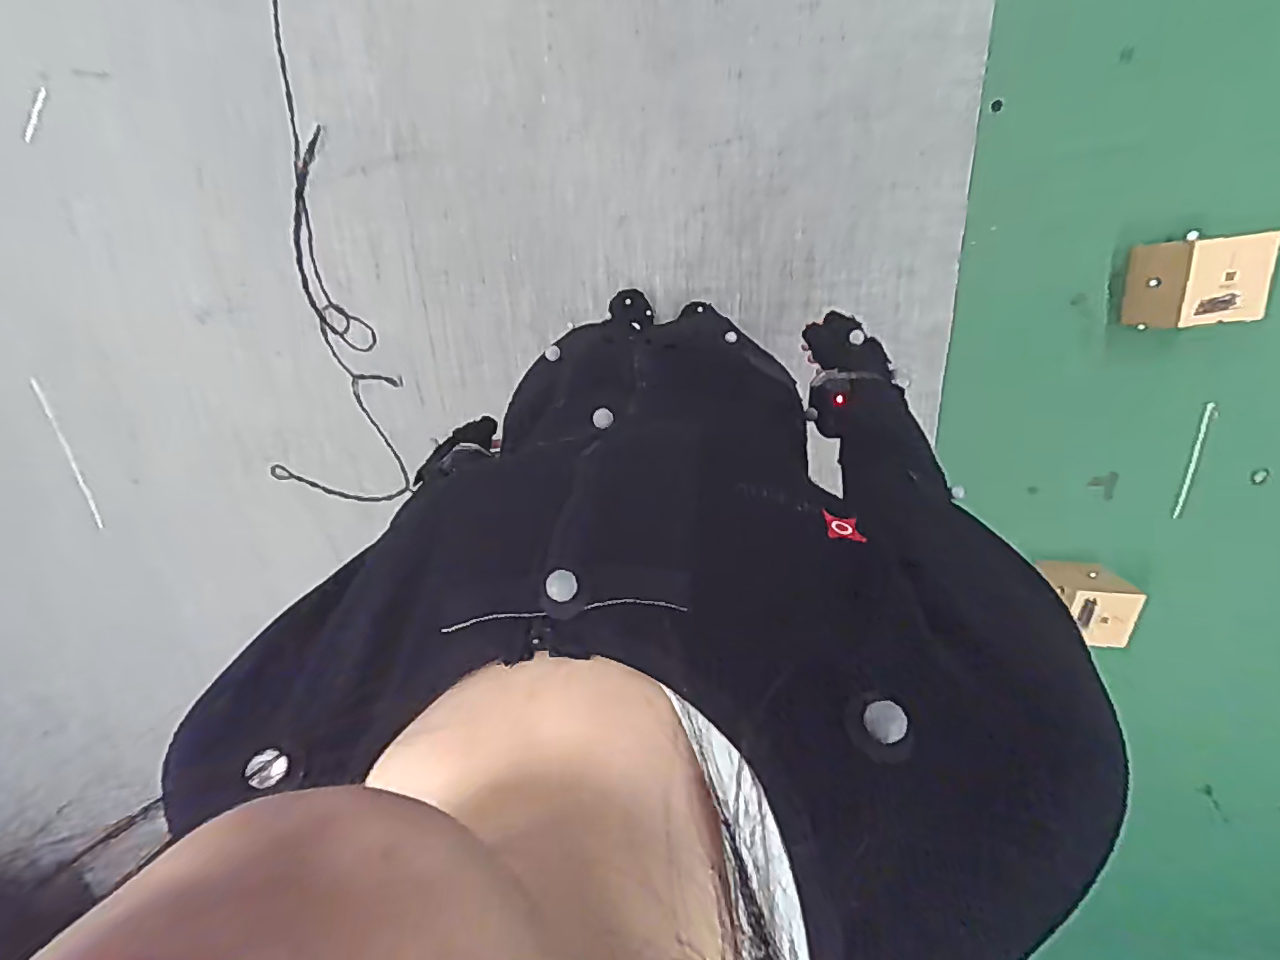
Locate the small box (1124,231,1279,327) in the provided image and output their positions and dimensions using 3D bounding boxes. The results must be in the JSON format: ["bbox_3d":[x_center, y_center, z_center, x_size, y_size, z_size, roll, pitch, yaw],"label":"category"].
[{"bbox_3d":[1.224,-0.440,1.191,0.168,0.176,0.179,-5,109,6],"label":"small box"}]
